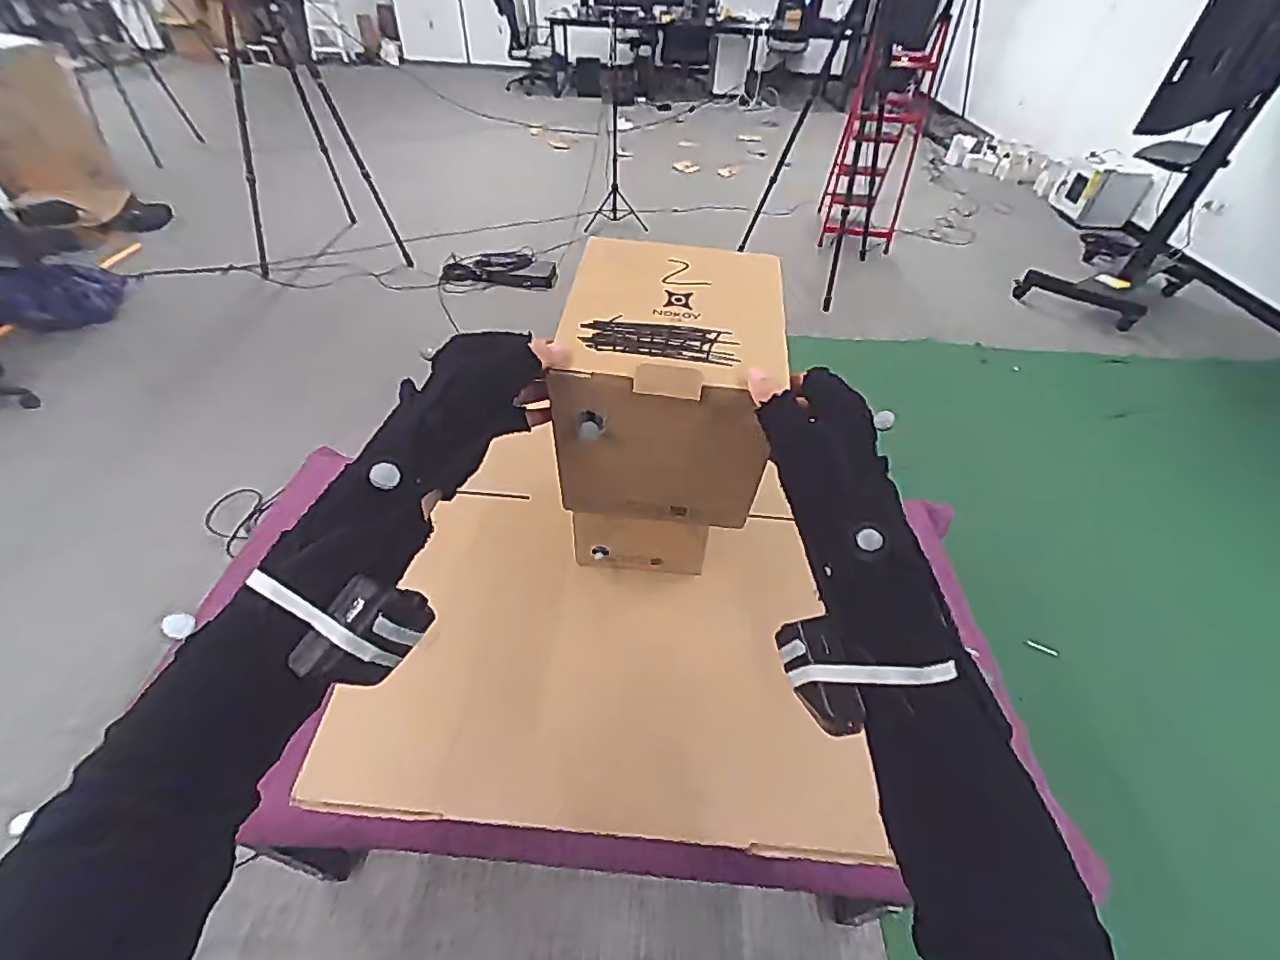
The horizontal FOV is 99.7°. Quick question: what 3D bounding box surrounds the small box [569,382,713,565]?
[{"bbox_3d":[0.005,-0.007,0.713,0.168,0.176,0.179,5,43,1],"label":"small box"}]
